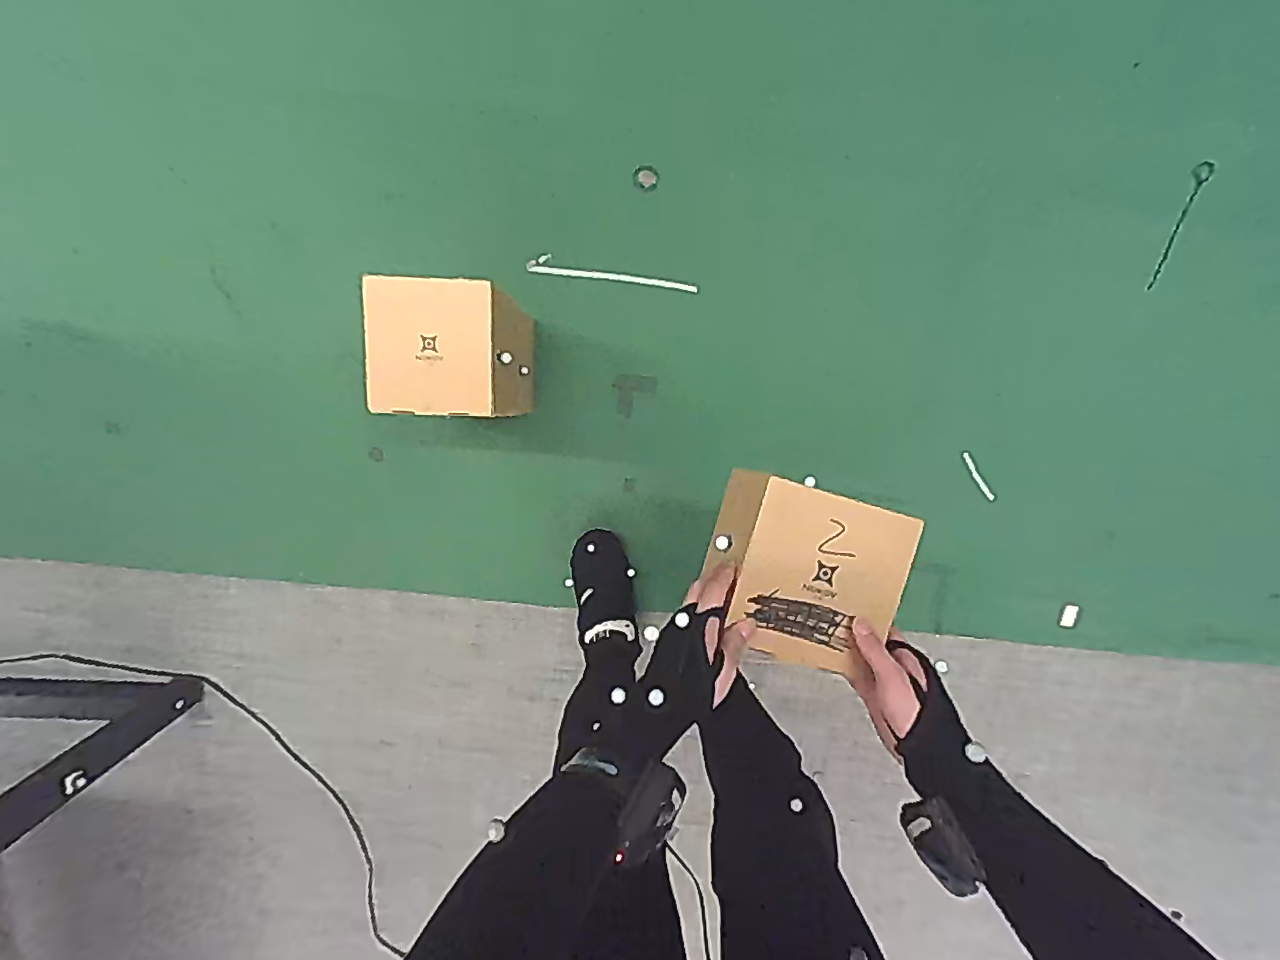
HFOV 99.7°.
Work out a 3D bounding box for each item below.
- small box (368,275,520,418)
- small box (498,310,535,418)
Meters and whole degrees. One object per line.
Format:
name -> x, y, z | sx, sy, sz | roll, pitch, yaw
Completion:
small box -> -0.273, -0.185, 0.783 | 0.168, 0.176, 0.179 | 2, 100, -2
small box -> -0.280, -0.206, 0.945 | 0.168, 0.176, 0.179 | 4, 99, -2
